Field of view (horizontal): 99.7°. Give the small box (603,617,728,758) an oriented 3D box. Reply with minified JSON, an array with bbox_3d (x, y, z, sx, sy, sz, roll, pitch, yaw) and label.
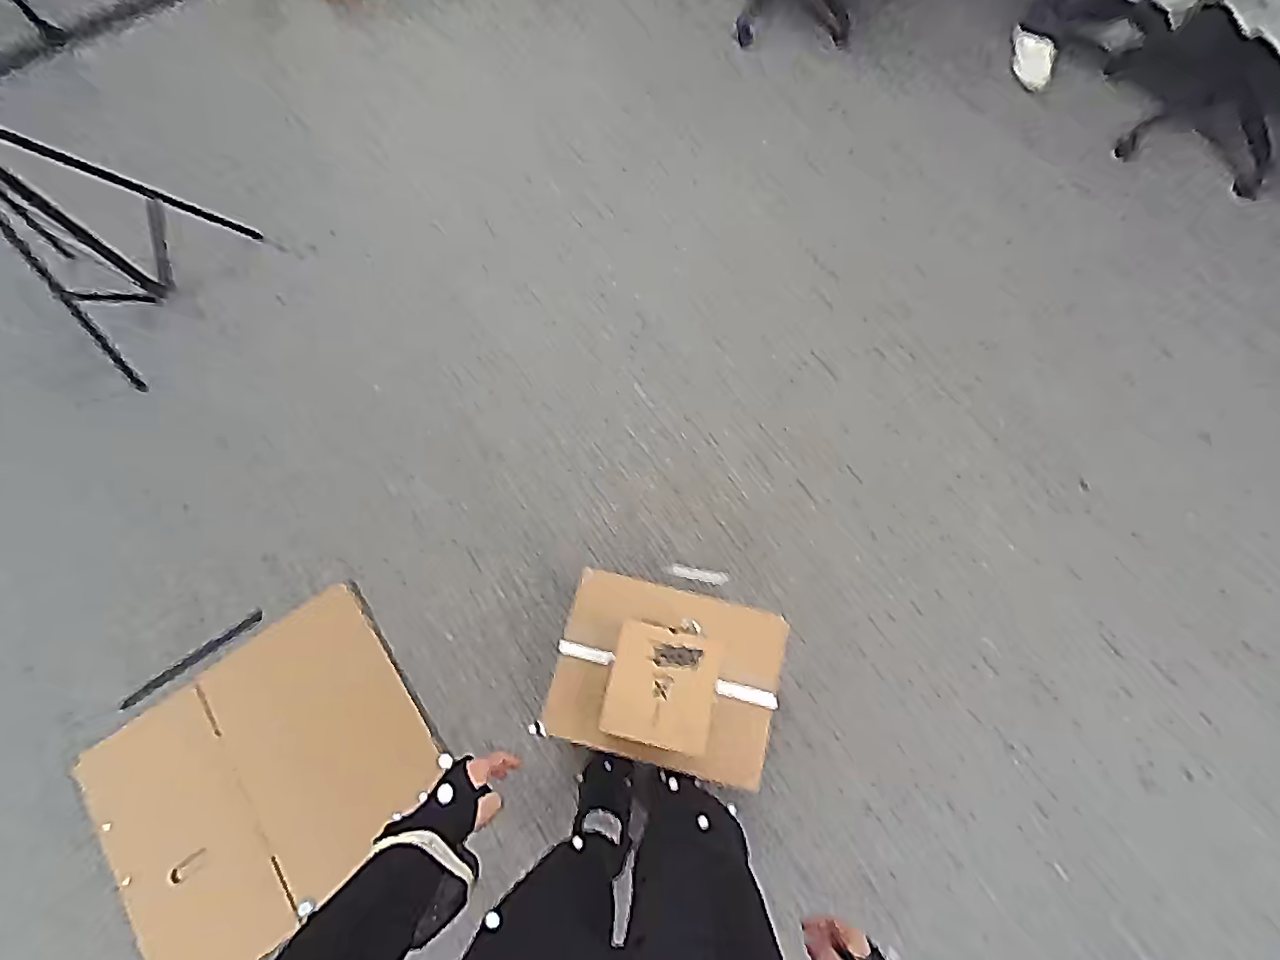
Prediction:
[{"bbox_3d":[0.043,0.342,0.912,0.168,0.176,0.179,12,73,6],"label":"small box"}]
